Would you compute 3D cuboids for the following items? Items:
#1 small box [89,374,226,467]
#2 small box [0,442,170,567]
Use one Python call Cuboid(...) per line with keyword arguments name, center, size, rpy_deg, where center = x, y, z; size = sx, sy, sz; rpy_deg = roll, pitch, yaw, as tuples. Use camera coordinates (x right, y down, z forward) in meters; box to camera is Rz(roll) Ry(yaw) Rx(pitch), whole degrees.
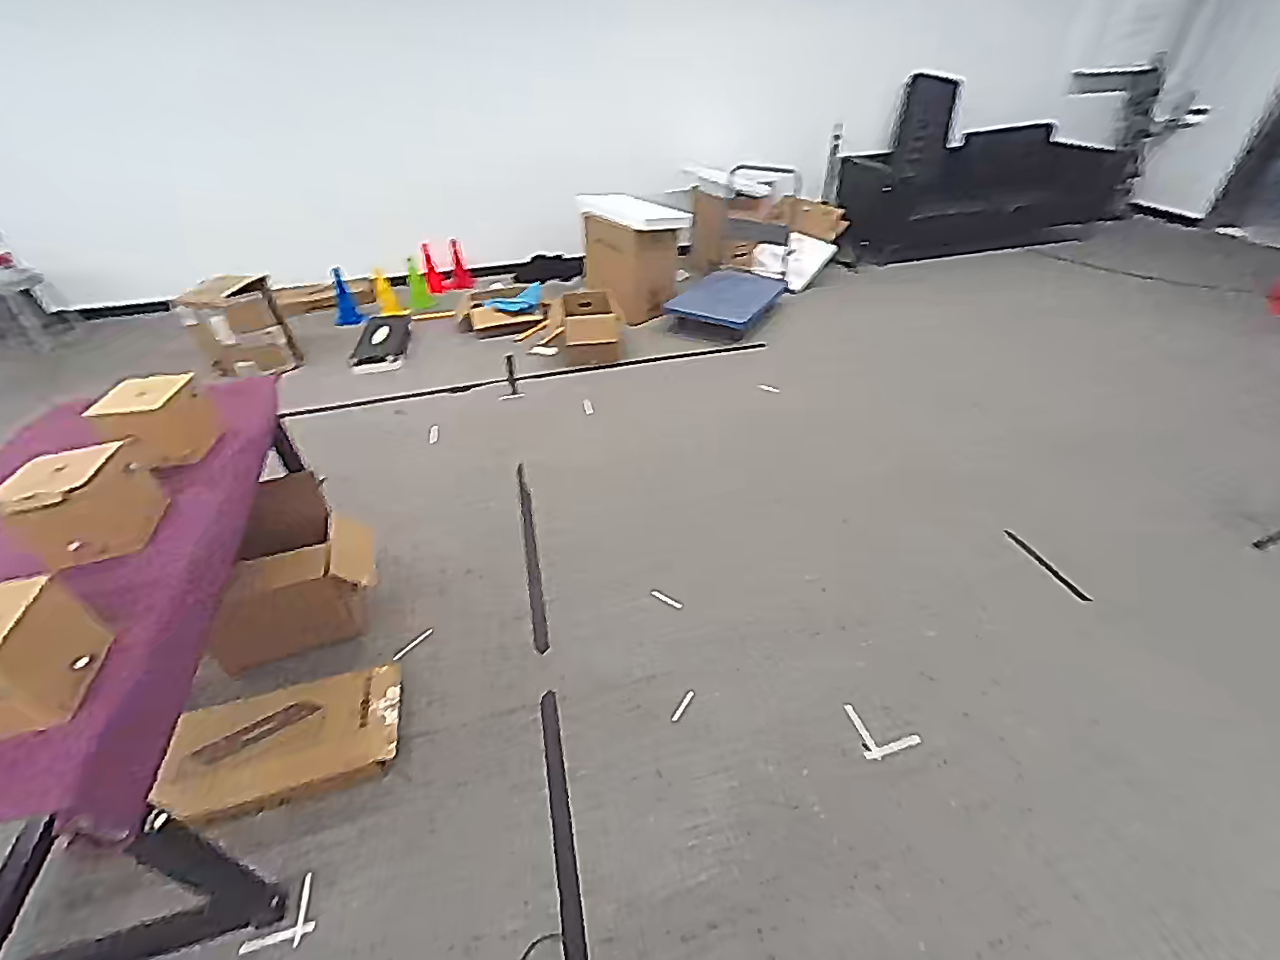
Cuboid(name="small box", center=(-1.194, -0.144, 1.359), size=(0.168, 0.176, 0.179), rpy_deg=(-7, 39, -6))
Cuboid(name="small box", center=(-1.128, 0.049, 1.114), size=(0.168, 0.176, 0.179), rpy_deg=(-14, 40, -10))
